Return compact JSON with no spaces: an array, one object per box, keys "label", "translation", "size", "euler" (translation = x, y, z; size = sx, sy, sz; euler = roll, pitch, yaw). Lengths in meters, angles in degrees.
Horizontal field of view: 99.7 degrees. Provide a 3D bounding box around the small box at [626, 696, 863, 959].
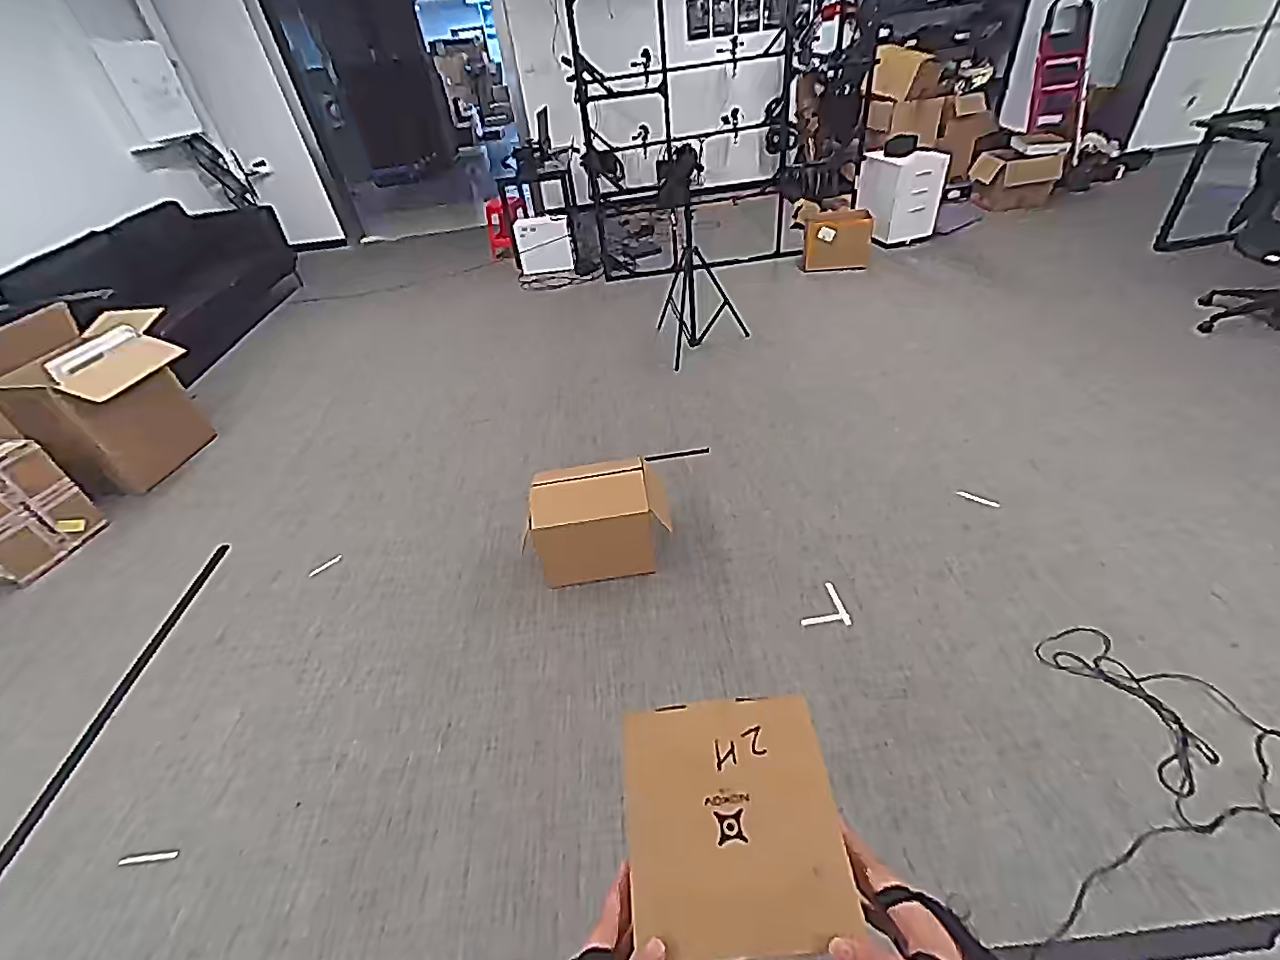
[{"label":"small box","translation":[0.080,0.321,0.495],"size":[0.168,0.176,0.179],"euler":[-6,48,1]}]
